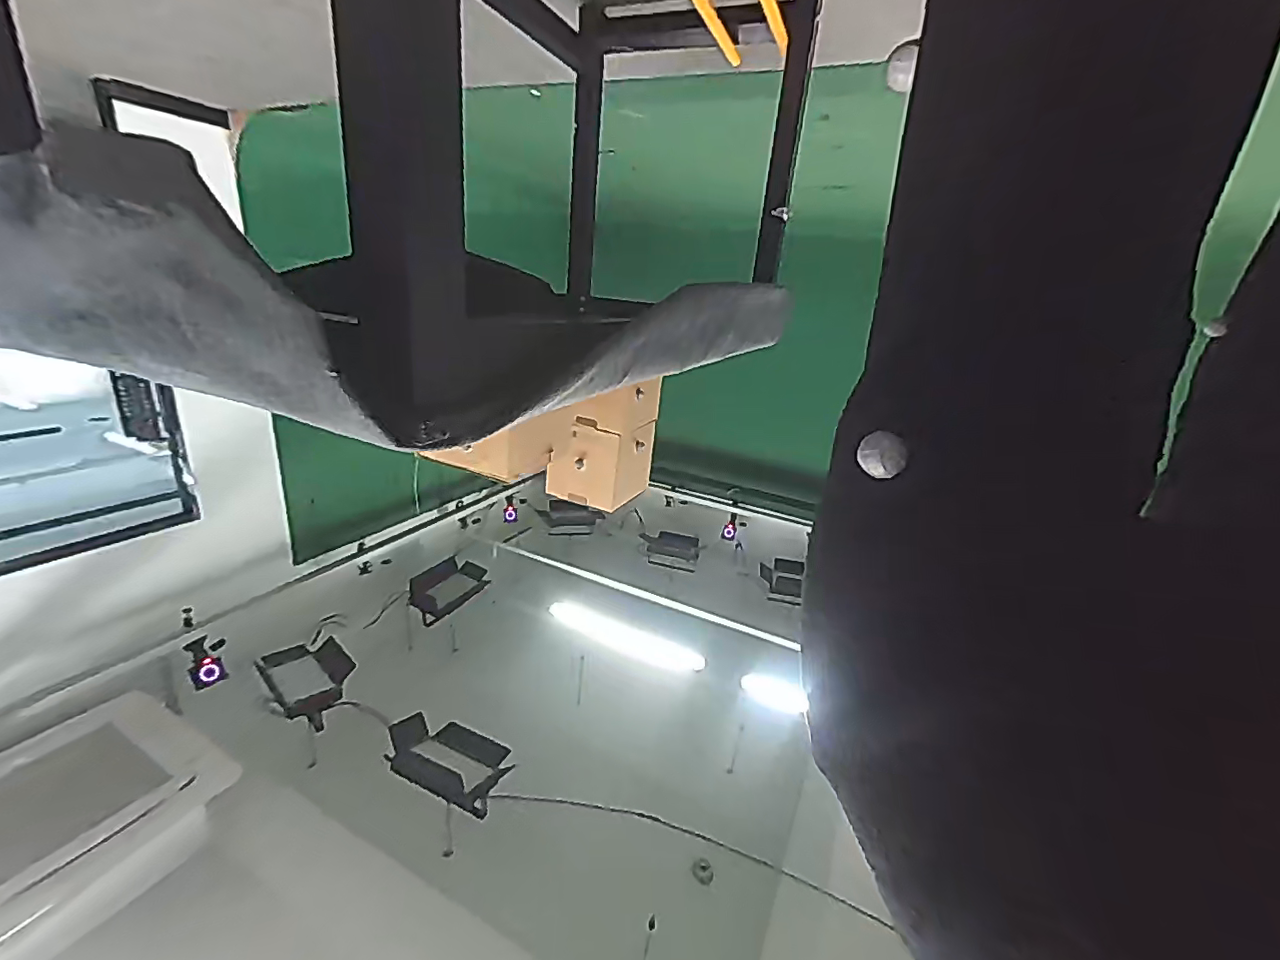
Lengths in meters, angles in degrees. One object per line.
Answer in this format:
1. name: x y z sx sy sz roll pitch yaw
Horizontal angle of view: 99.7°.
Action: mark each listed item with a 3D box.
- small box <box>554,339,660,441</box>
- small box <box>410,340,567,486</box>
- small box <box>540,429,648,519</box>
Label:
1. small box: -0.070 -0.190 1.096 0.168 0.176 0.179 15 -159 20
2. small box: -0.222 -0.108 0.805 0.179 0.176 0.168 15 -160 21
3. small box: -0.096 -0.037 1.153 0.168 0.176 0.179 15 -160 21
